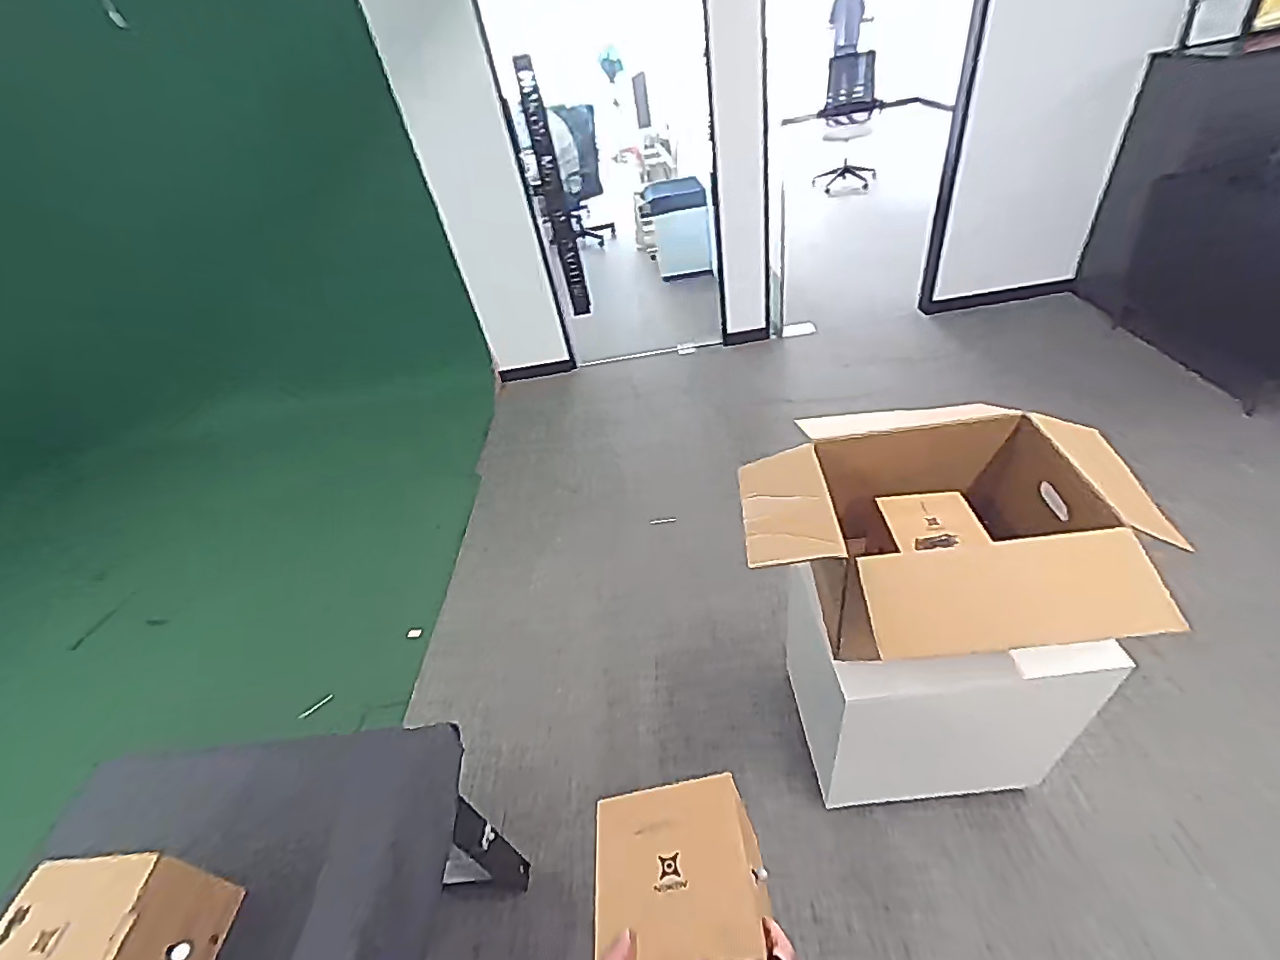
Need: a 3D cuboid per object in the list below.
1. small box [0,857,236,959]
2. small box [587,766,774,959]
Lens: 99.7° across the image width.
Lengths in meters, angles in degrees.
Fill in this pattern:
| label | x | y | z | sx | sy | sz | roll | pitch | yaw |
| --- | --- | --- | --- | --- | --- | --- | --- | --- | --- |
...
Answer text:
| label | x | y | z | sx | sy | sz | roll | pitch | yaw |
| --- | --- | --- | --- | --- | --- | --- | --- | --- | --- |
| small box | -0.664 | 0.591 | 0.672 | 0.179 | 0.176 | 0.168 | -6 | 40 | 4 |
| small box | 0.047 | 0.462 | 0.604 | 0.168 | 0.176 | 0.179 | -14 | 30 | 6 |
